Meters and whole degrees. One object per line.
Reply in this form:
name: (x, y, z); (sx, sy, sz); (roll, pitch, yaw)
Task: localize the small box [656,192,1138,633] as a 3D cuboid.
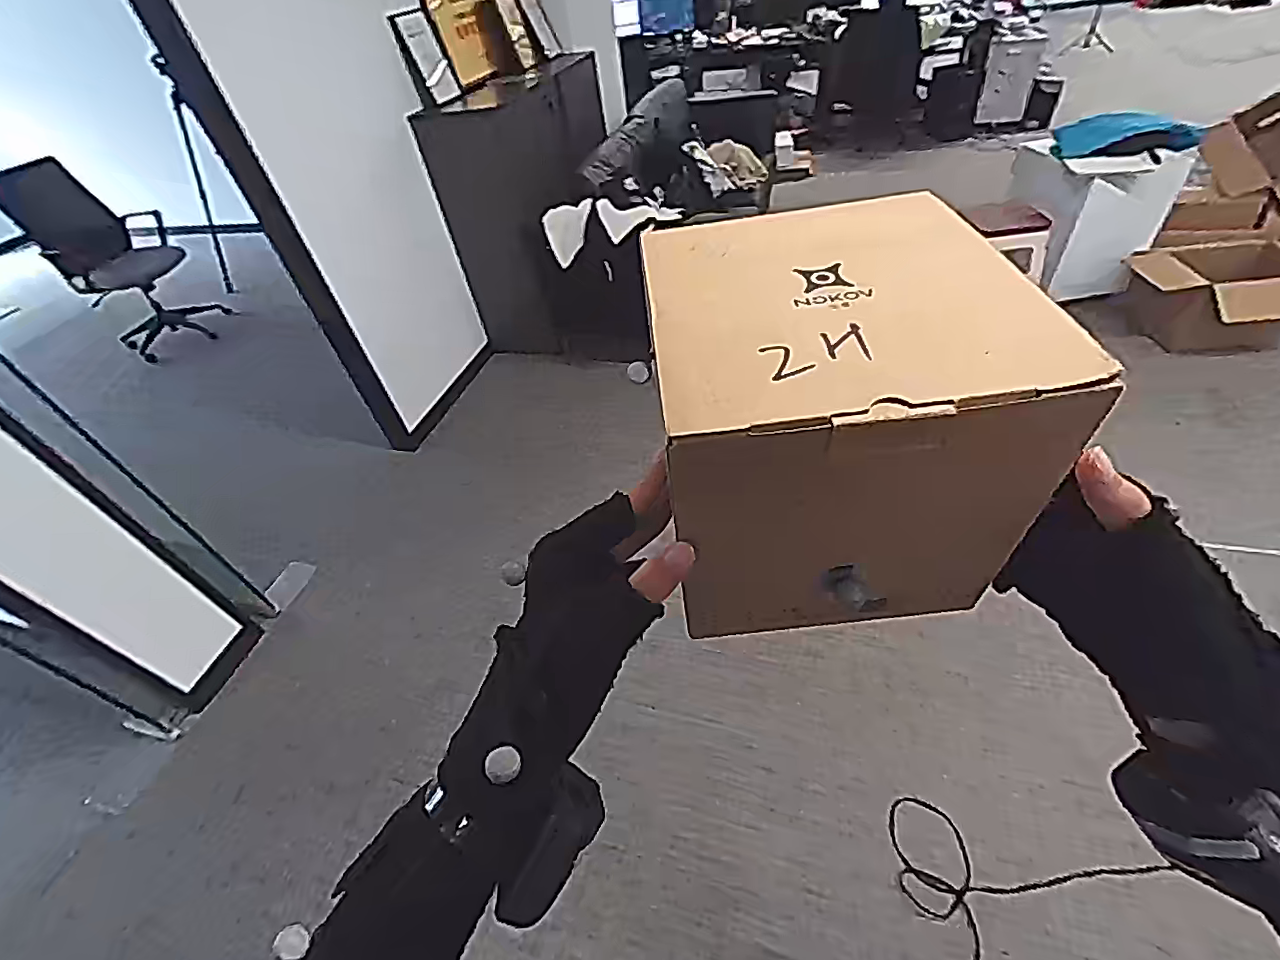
small box: (0.101, -0.035, 0.309); (0.168, 0.176, 0.179); (-7, 49, 4)
